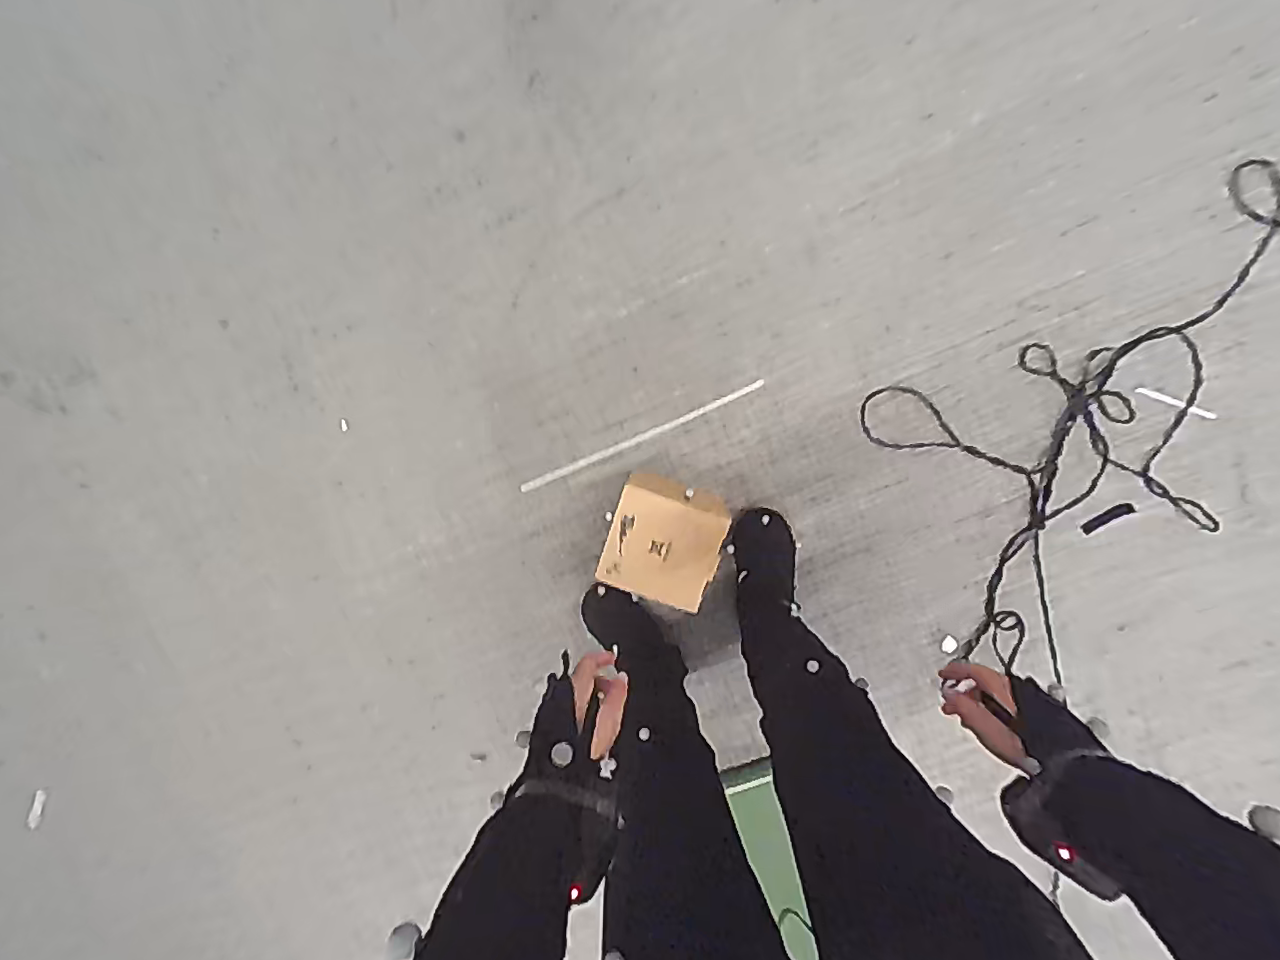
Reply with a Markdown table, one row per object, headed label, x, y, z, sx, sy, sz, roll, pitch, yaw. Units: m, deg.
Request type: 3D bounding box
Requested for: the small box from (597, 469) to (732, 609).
| label | x | y | z | sx | sy | sz | roll | pitch | yaw |
| --- | --- | --- | --- | --- | --- | --- | --- | --- | --- |
| small box | 0.041 | 0.091 | 0.930 | 0.179 | 0.176 | 0.168 | 19 | 101 | 0 |
